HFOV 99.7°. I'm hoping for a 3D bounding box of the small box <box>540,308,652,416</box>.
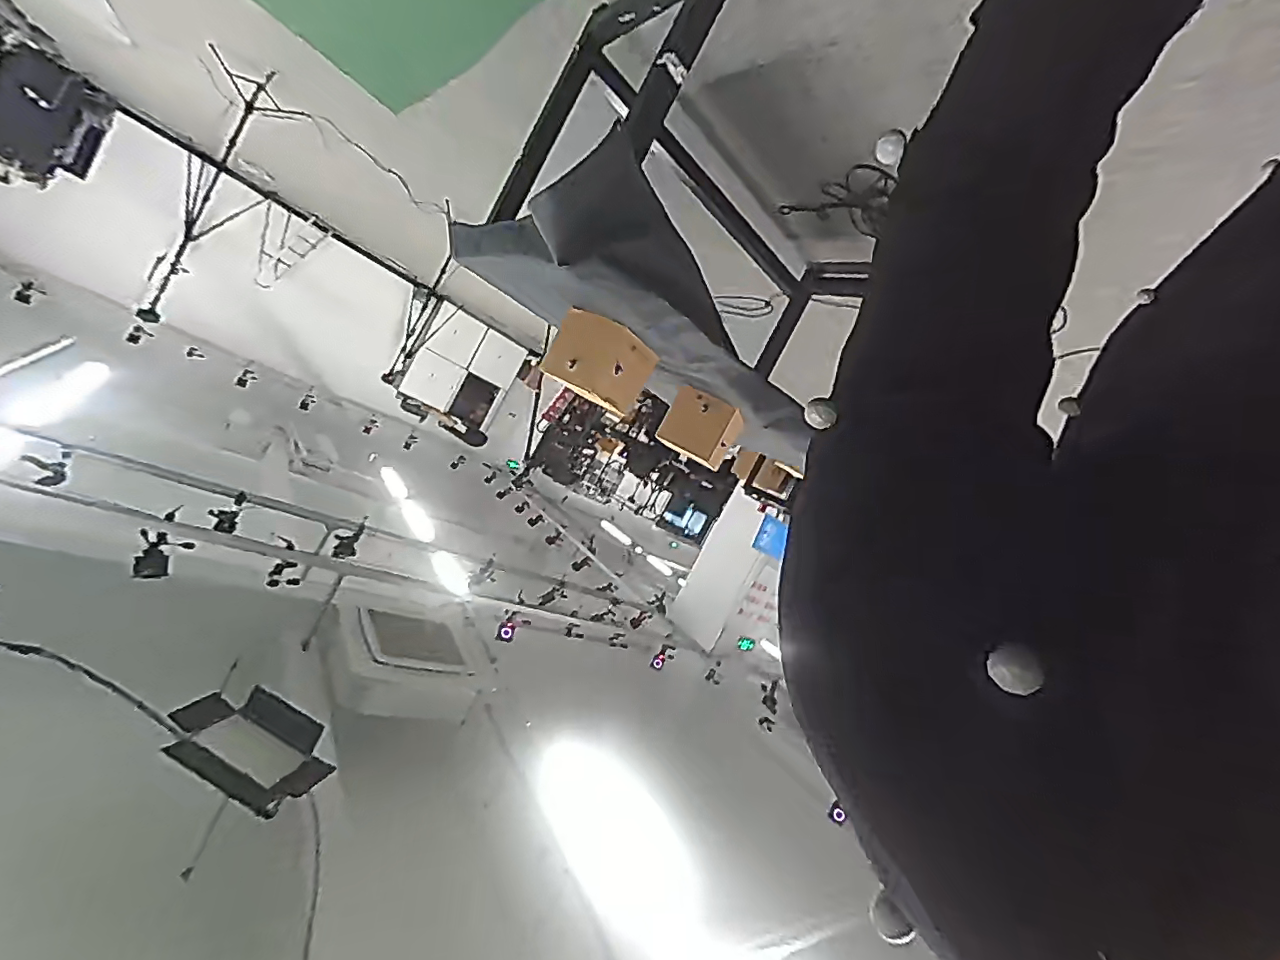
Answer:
[{"bbox_3d":[-0.092,-0.276,1.259,0.179,0.176,0.168,30,-178,32],"label":"small box"}]
